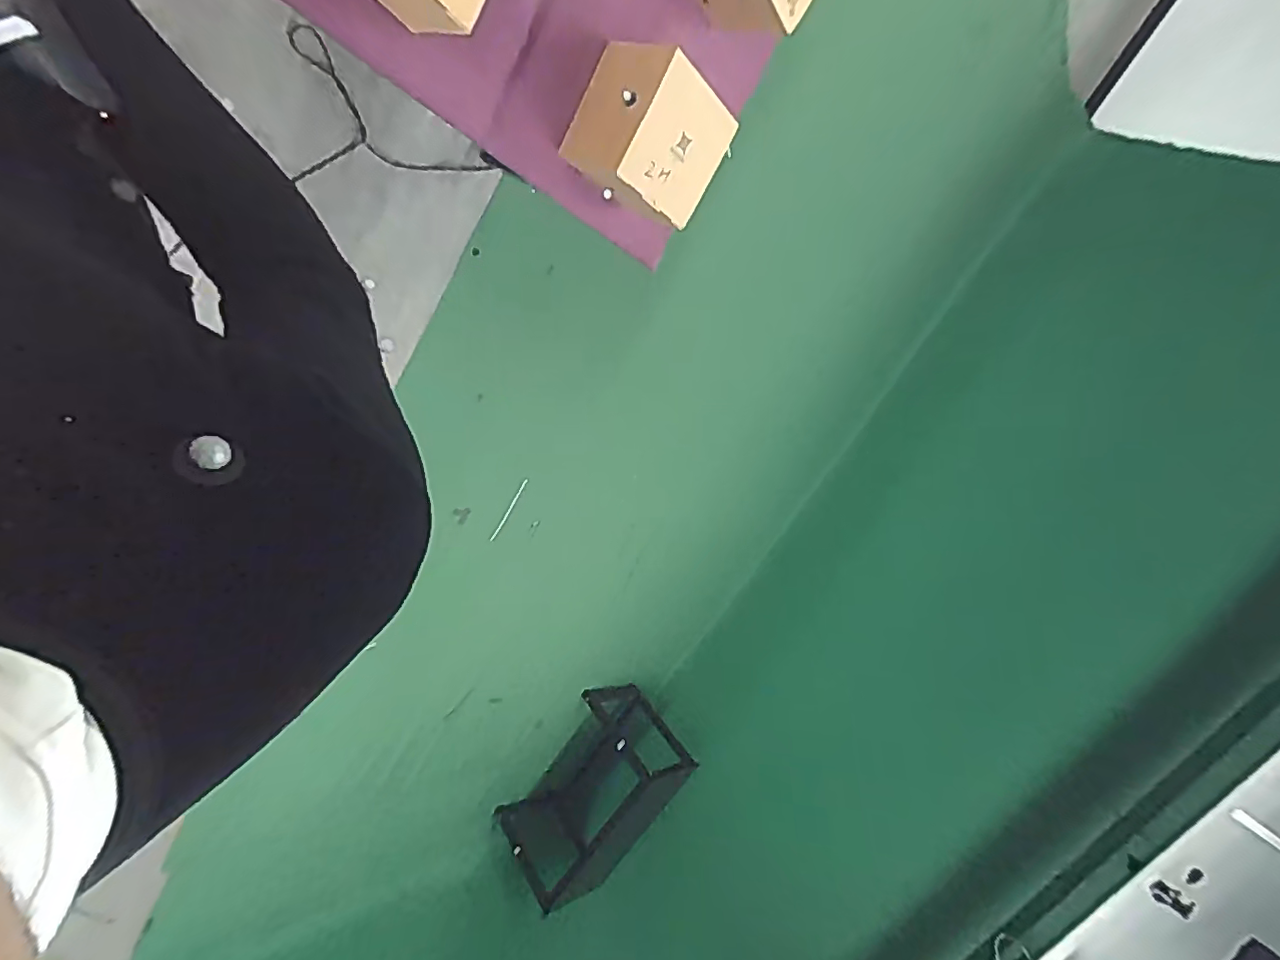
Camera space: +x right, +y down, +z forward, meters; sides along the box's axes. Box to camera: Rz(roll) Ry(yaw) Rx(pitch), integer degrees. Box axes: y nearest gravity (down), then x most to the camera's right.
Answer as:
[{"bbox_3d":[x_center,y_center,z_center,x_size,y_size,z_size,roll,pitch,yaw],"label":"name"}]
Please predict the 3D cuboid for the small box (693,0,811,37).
[{"bbox_3d":[0.167,-0.783,0.767,0.168,0.176,0.179,17,110,-50],"label":"small box"}]

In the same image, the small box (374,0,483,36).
[{"bbox_3d":[-0.236,-0.593,0.532,0.168,0.176,0.179,16,110,-51],"label":"small box"}]

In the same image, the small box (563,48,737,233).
[{"bbox_3d":[0.009,-0.525,0.838,0.168,0.176,0.179,14,113,-49],"label":"small box"}]
